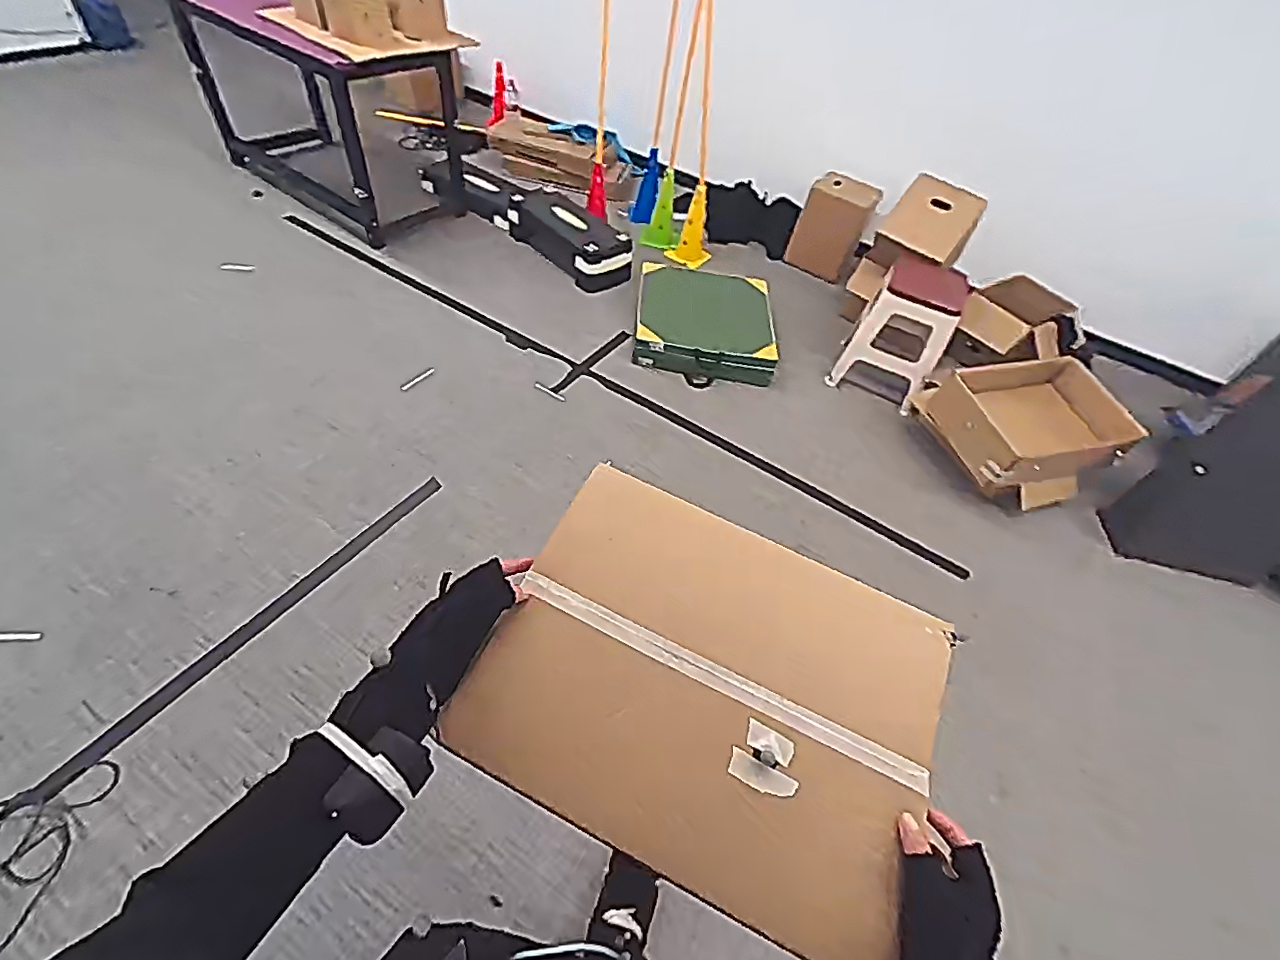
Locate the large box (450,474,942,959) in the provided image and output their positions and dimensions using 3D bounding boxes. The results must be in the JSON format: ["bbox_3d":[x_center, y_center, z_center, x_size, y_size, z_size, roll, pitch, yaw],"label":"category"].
[{"bbox_3d":[0.057,0.260,0.642,0.408,0.320,0.320,25,61,9],"label":"large box"}]
